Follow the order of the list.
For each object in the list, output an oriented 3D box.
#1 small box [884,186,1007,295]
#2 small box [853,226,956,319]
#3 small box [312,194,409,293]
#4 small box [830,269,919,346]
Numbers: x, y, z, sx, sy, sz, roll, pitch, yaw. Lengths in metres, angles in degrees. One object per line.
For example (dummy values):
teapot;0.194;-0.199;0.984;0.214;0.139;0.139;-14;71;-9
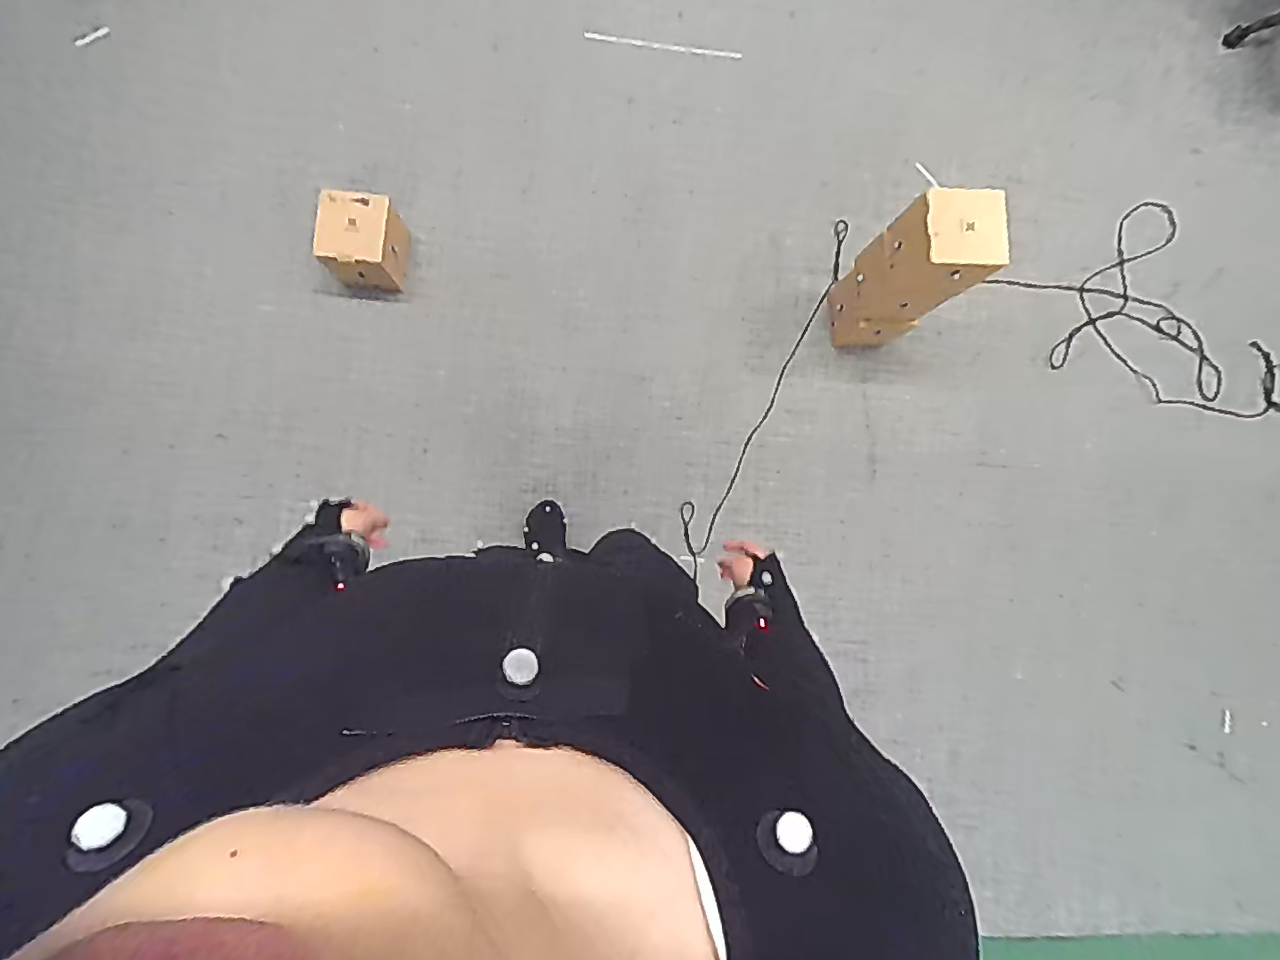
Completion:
small box;0.671;-0.525;1.203;0.179;0.176;0.168;-1;85;-4
small box;0.661;-0.516;1.365;0.179;0.176;0.168;0;85;-4
small box;-0.722;-0.611;1.415;0.168;0.176;0.179;5;85;-5
small box;0.650;-0.485;1.526;0.179;0.176;0.168;-4;86;-6
